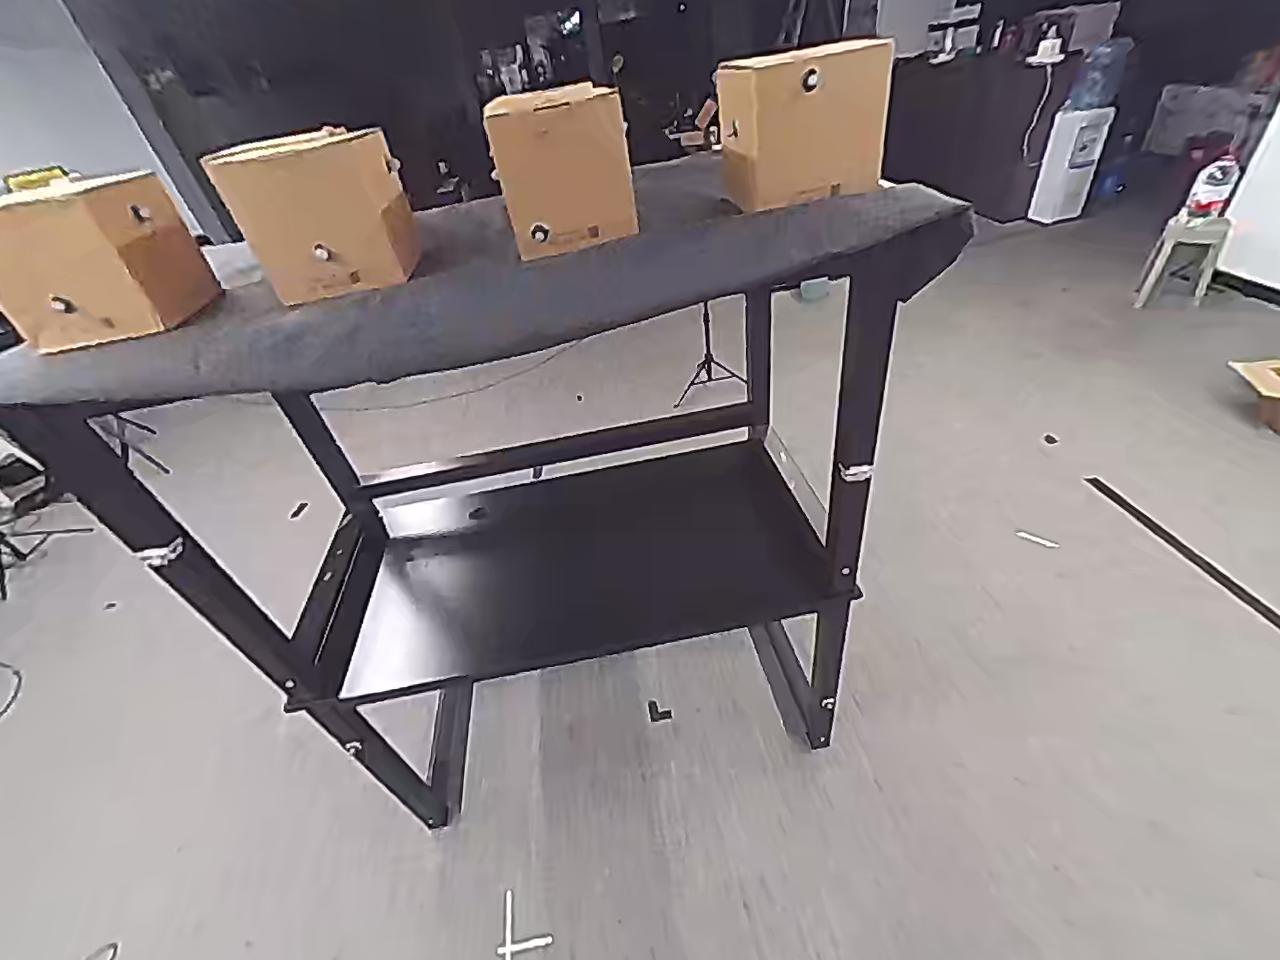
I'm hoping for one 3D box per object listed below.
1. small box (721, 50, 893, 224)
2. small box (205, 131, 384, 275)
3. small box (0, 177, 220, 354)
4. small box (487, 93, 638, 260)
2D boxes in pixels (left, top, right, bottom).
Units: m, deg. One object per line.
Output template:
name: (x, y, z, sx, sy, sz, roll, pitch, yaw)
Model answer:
small box: (0.213, -0.463, 0.736, 0.168, 0.176, 0.179, -12, 38, -1)
small box: (-0.555, -0.463, 0.904, 0.179, 0.176, 0.168, -13, 39, -4)
small box: (-0.711, -0.286, 0.717, 0.168, 0.176, 0.179, -12, 38, -4)
small box: (-0.103, -0.419, 0.753, 0.168, 0.176, 0.179, -12, 38, -3)
